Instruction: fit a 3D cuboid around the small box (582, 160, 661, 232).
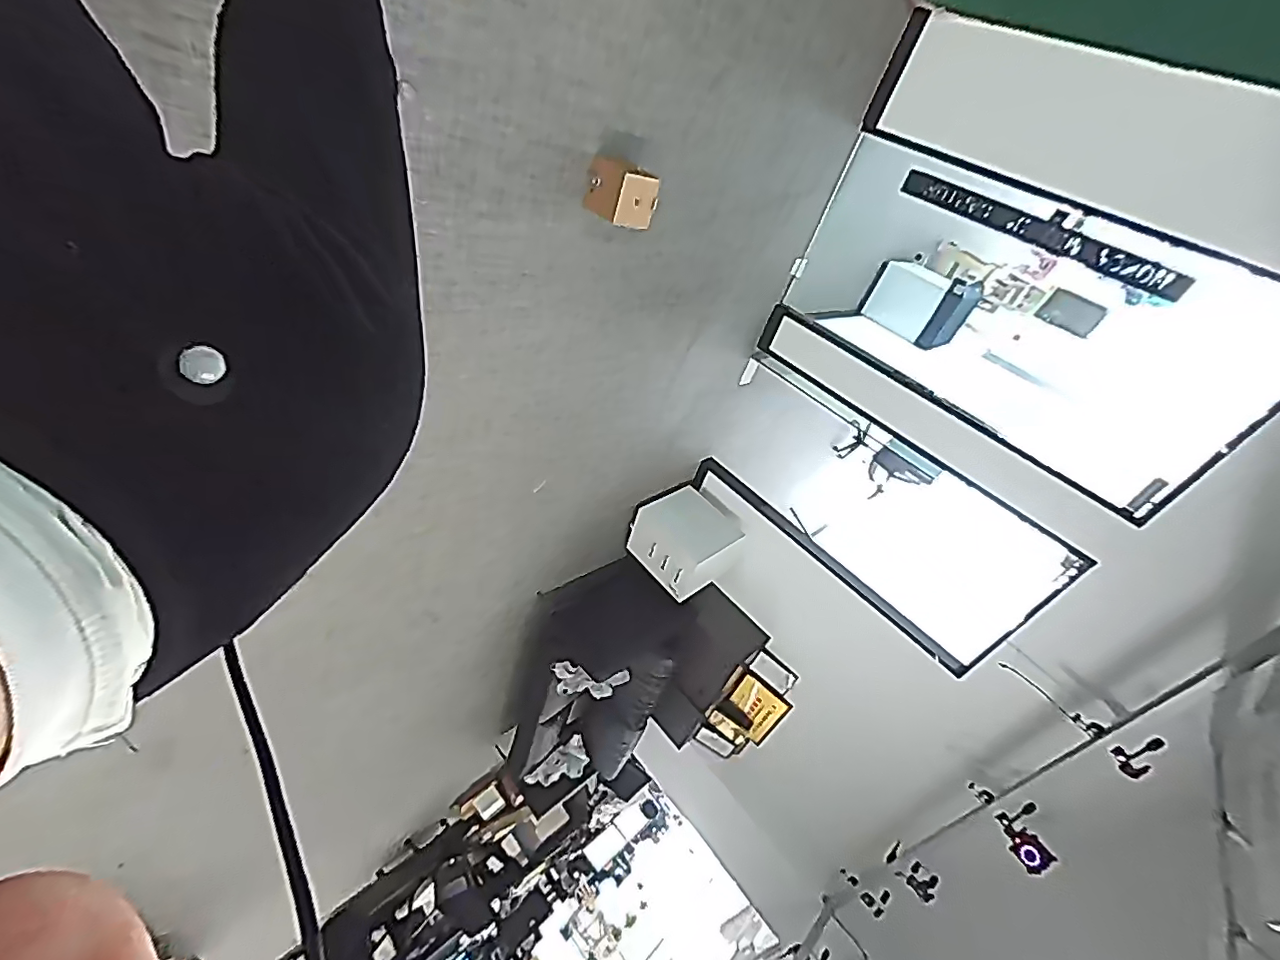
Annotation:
[{"bbox_3d":[-0.066,-0.972,1.851,0.179,0.176,0.168,-17,138,-45],"label":"small box"}]
